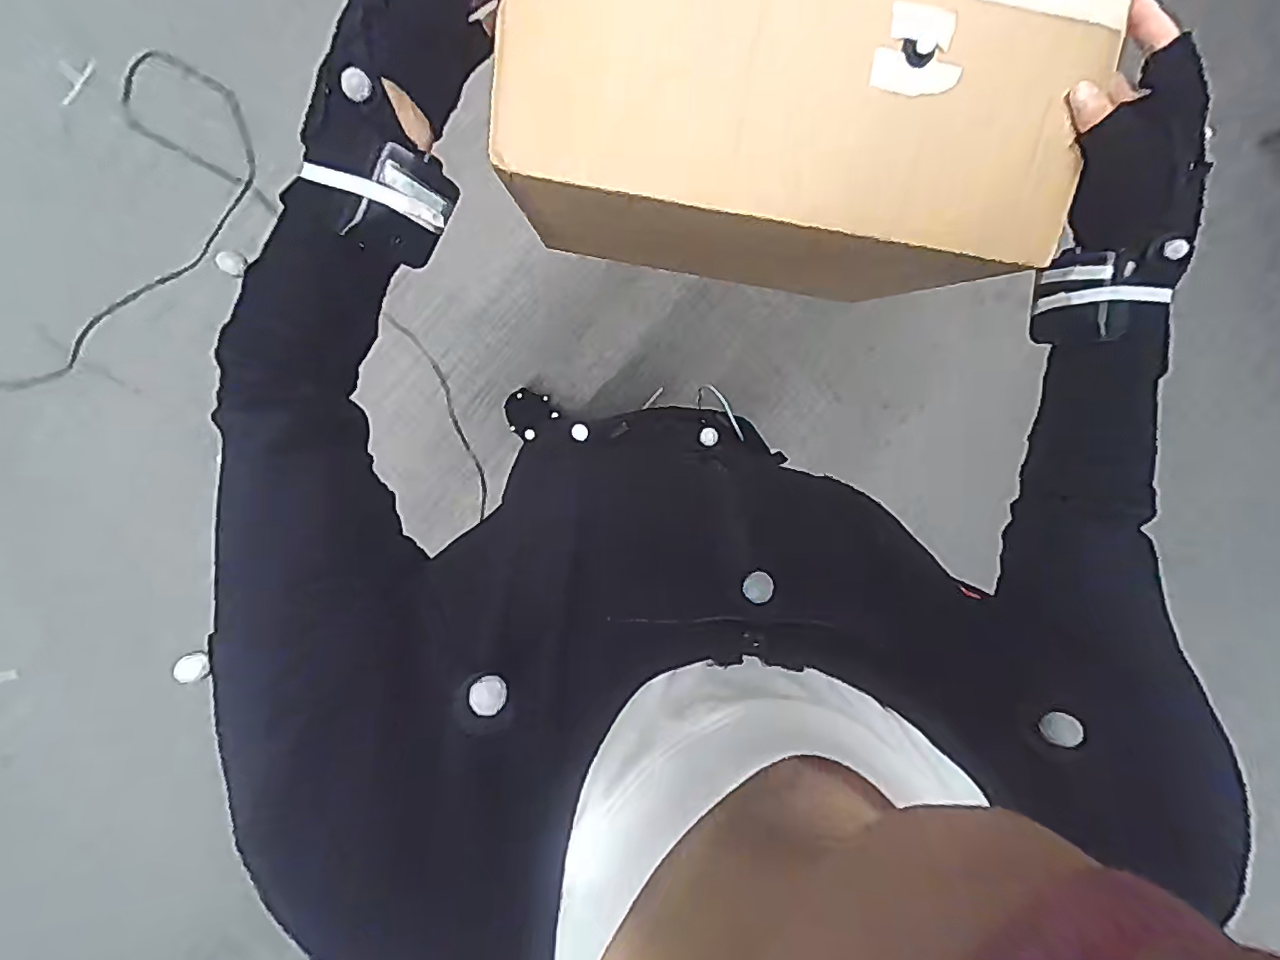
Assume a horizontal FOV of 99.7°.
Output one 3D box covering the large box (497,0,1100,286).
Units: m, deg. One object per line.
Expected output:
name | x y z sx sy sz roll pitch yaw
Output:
large box | 0.104 -0.376 0.495 0.408 0.320 0.320 6 104 -5
